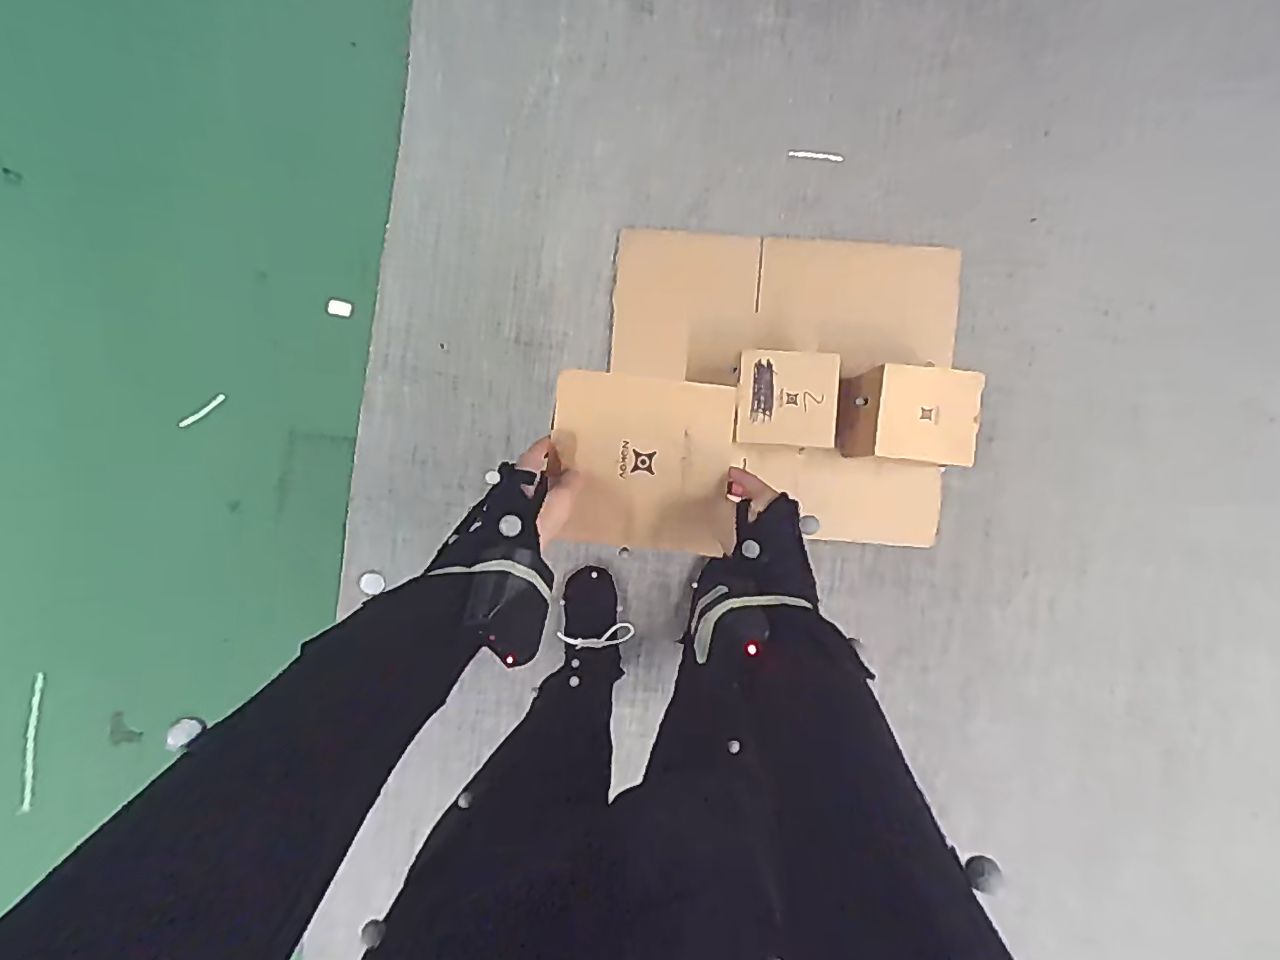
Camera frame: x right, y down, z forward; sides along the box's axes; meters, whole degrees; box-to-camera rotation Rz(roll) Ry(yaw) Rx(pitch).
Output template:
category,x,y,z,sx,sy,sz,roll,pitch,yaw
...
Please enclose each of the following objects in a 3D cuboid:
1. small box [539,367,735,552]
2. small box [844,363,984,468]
category,x,y,z,sx,sy,sz,roll,pitch,yaw
small box,-0.005,-0.015,0.595,0.179,0.176,0.168,5,87,-3
small box,0.500,-0.113,1.014,0.179,0.176,0.168,6,91,2
